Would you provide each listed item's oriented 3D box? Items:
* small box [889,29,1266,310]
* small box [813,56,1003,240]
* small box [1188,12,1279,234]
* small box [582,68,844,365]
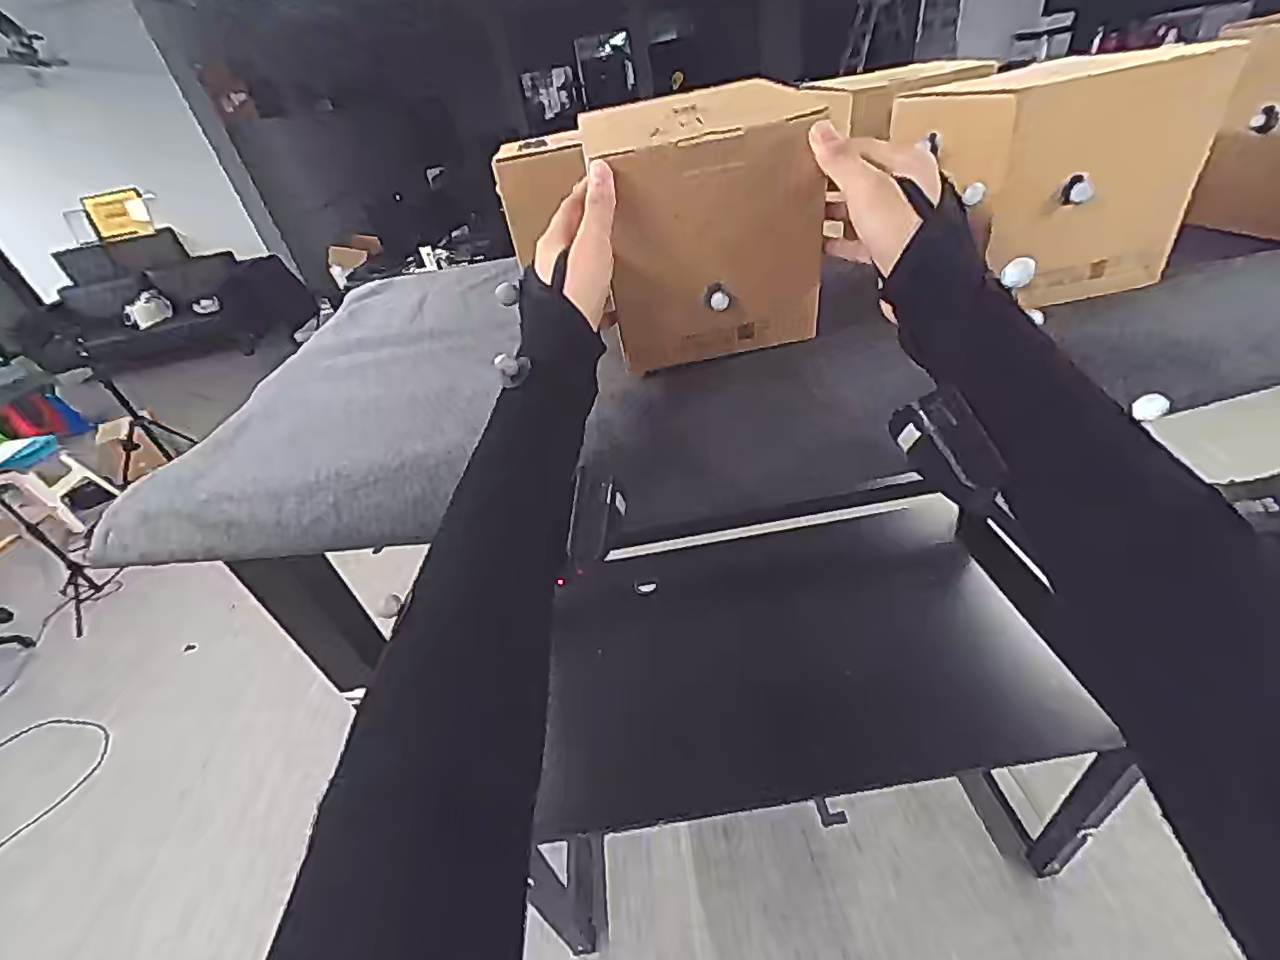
[{"bbox_3d":[0.341,-0.260,0.472,0.168,0.176,0.179,-12,34,0],"label":"small box"},{"bbox_3d":[0.314,-0.422,0.695,0.168,0.176,0.179,-11,36,0],"label":"small box"},{"bbox_3d":[0.637,-0.317,0.464,0.168,0.176,0.179,-9,33,3],"label":"small box"},{"bbox_3d":[0.050,-0.221,0.455,0.168,0.176,0.179,-11,44,1],"label":"small box"}]
